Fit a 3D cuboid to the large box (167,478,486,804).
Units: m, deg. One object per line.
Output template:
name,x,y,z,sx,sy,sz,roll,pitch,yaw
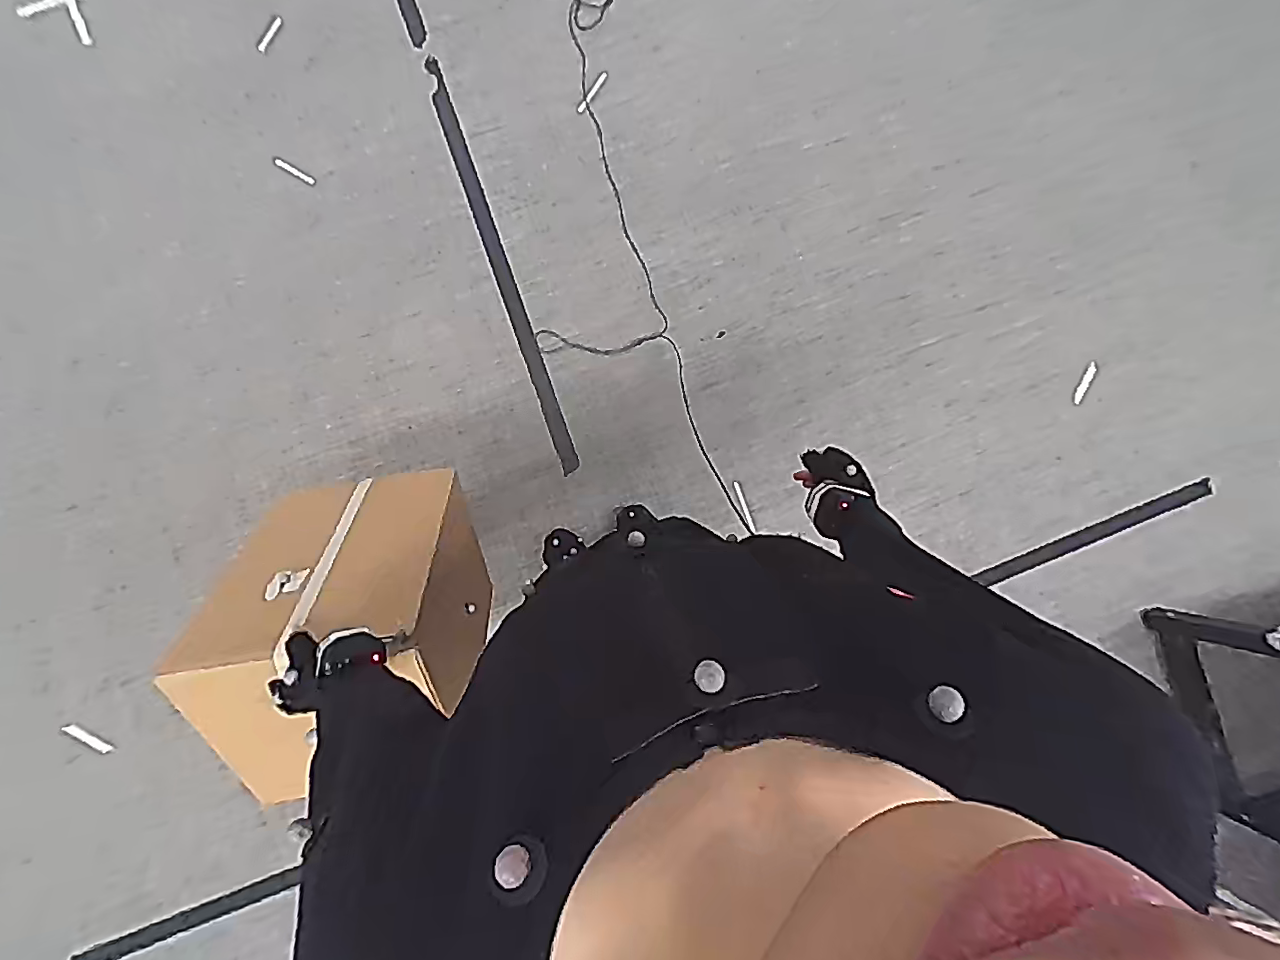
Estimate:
large box,-0.457,0.247,0.921,0.320,0.408,0.320,-10,124,-5
